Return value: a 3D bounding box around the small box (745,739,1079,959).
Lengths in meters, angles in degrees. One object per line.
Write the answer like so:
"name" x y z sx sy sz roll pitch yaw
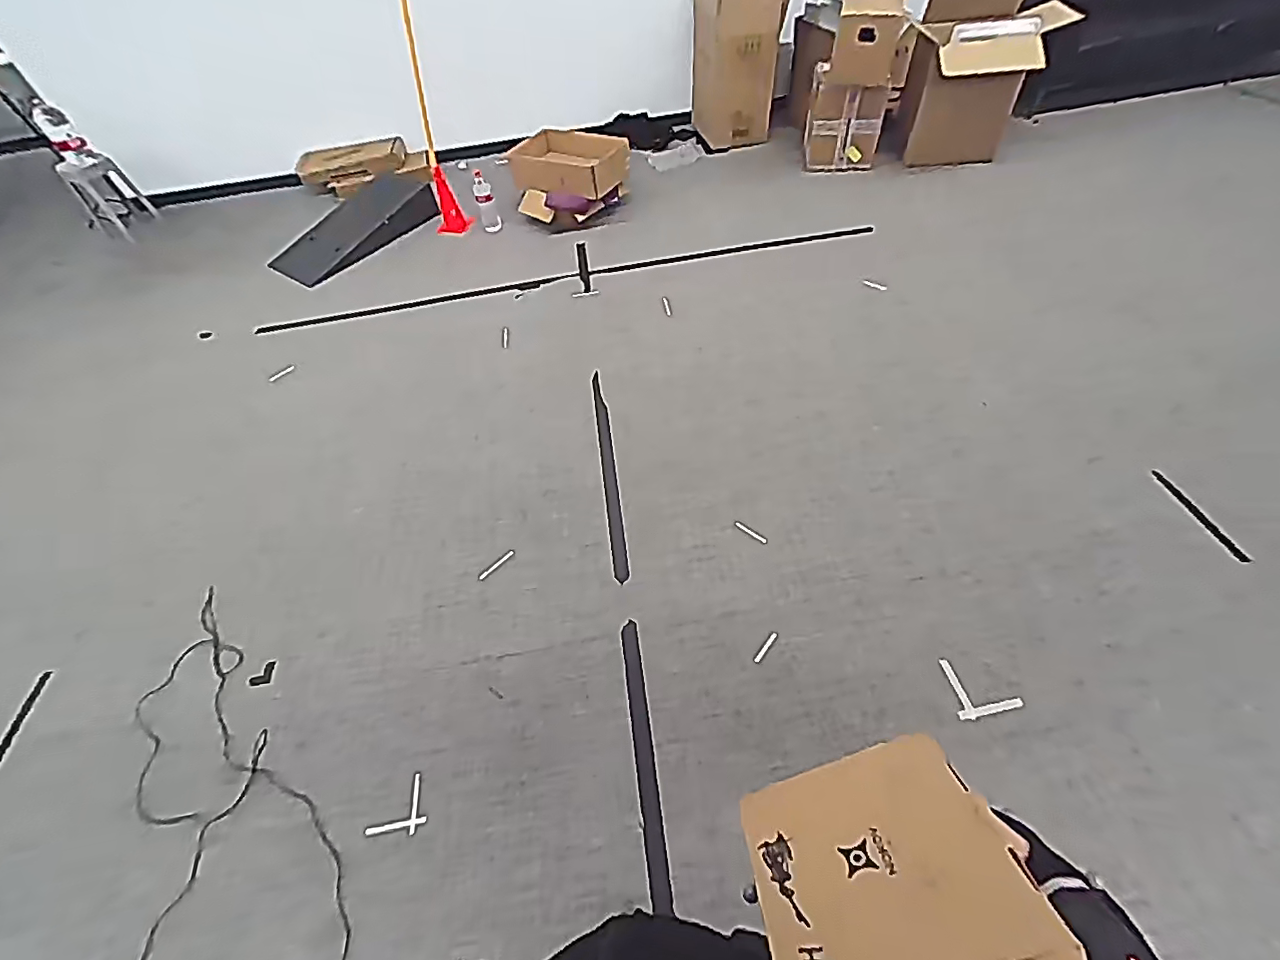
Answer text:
"small box" 0.204 0.350 0.420 0.179 0.176 0.168 -23 15 6
